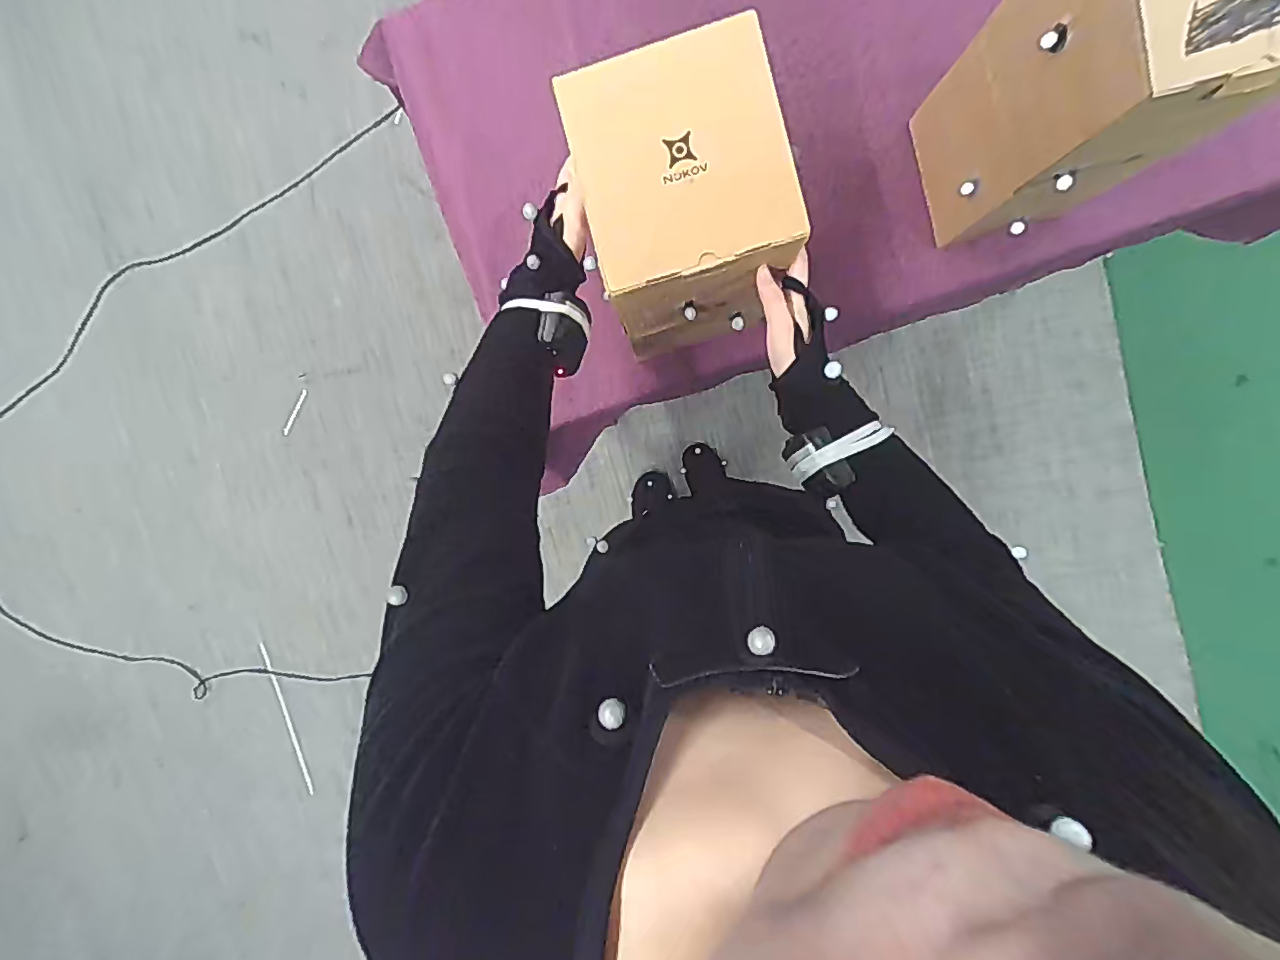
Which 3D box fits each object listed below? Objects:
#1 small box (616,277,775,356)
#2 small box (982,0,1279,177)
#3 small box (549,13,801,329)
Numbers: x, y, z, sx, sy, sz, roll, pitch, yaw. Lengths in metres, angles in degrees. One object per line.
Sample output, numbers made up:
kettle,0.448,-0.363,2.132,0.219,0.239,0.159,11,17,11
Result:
small box,0.048,-0.264,0.667,0.179,0.176,0.168,-16,93,5
small box,0.435,-0.393,0.468,0.168,0.176,0.179,-13,93,4
small box,0.031,-0.260,0.503,0.168,0.176,0.179,-15,94,6
